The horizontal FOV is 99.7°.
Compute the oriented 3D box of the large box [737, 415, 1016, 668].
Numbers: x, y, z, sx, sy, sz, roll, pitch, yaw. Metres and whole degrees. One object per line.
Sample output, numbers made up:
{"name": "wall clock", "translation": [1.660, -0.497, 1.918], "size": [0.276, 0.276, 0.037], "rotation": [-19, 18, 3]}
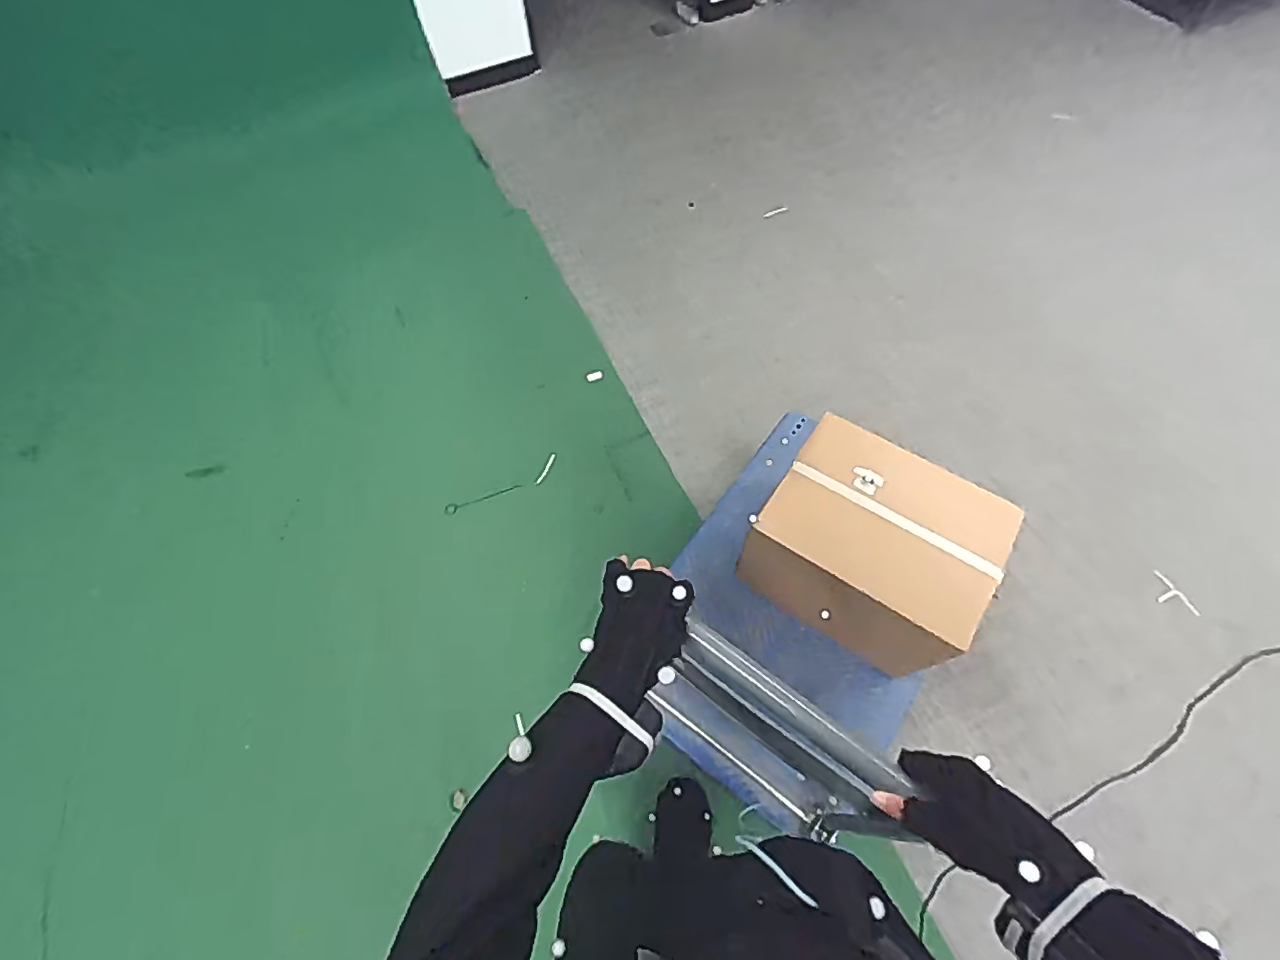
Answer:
{"name": "large box", "translation": [0.466, 0.138, 1.142], "size": [0.408, 0.320, 0.320], "rotation": [30, 67, 18]}
